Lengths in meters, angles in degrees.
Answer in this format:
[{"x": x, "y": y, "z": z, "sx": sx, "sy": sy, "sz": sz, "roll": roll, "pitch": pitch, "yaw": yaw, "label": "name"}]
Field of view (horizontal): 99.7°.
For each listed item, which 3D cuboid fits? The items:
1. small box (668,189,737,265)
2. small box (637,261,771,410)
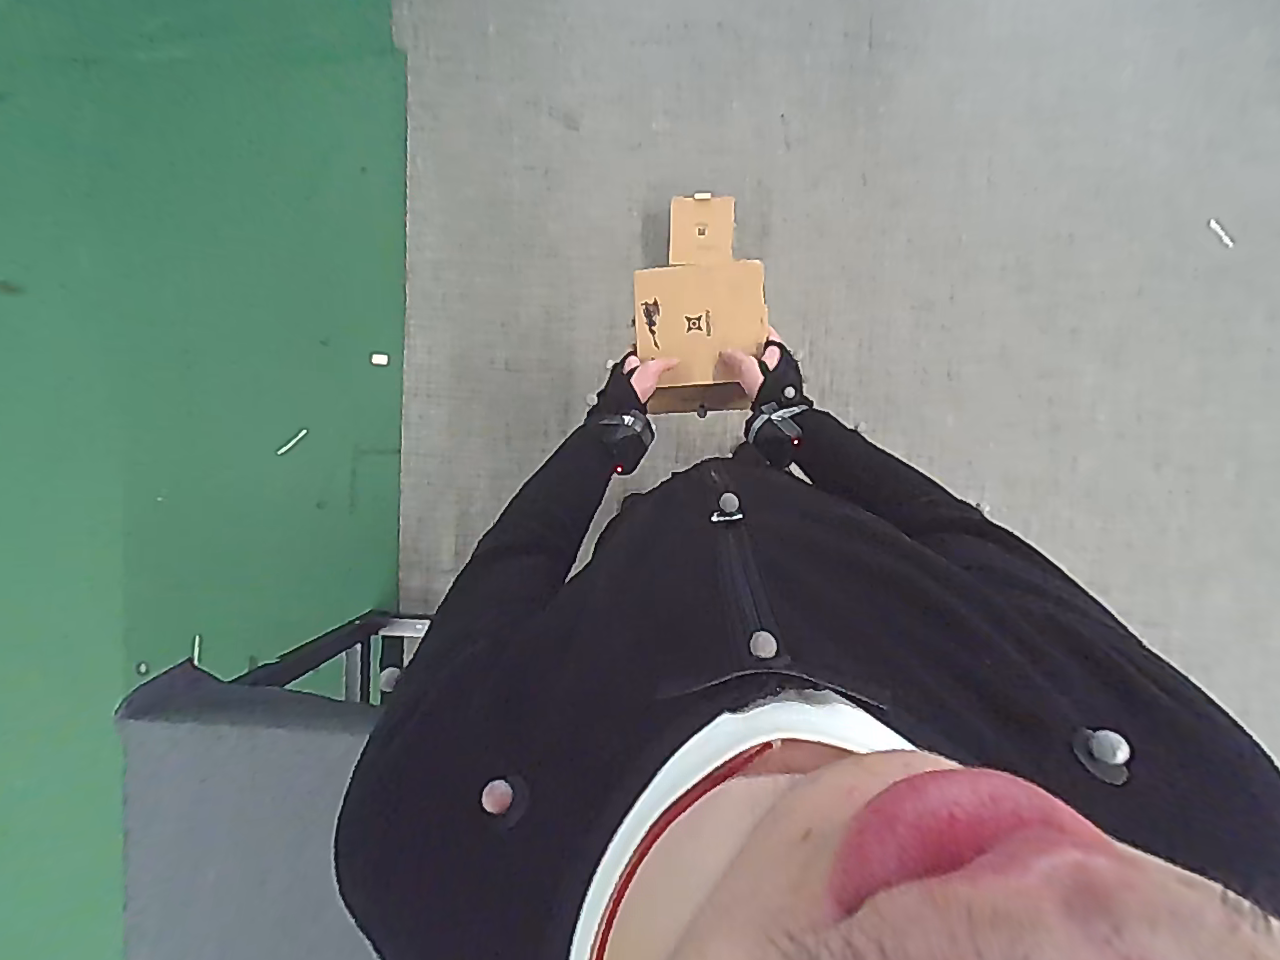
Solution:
[{"x": 0.164, "y": -0.652, "z": 1.454, "sx": 0.168, "sy": 0.176, "sz": 0.179, "roll": 4, "pitch": 93, "yaw": 5, "label": "small box"}, {"x": 0.089, "y": -0.202, "z": 0.796, "sx": 0.179, "sy": 0.176, "sz": 0.168, "roll": -2, "pitch": 85, "yaw": 4, "label": "small box"}]
